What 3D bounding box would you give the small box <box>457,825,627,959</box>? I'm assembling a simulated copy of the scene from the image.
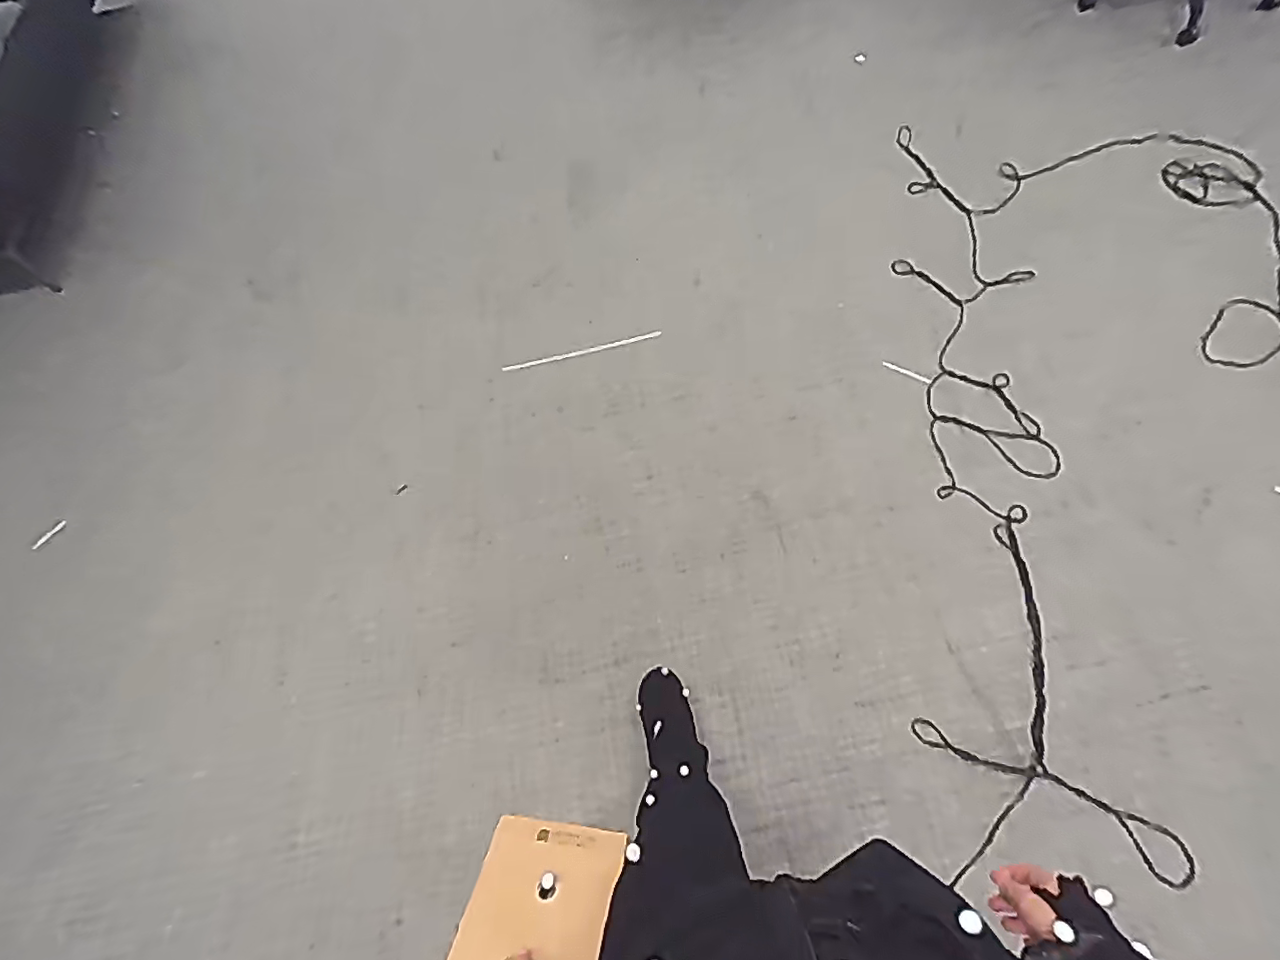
[{"bbox_3d":[-0.108,0.545,0.634,0.168,0.179,0.176,5,22,4],"label":"small box"}]
